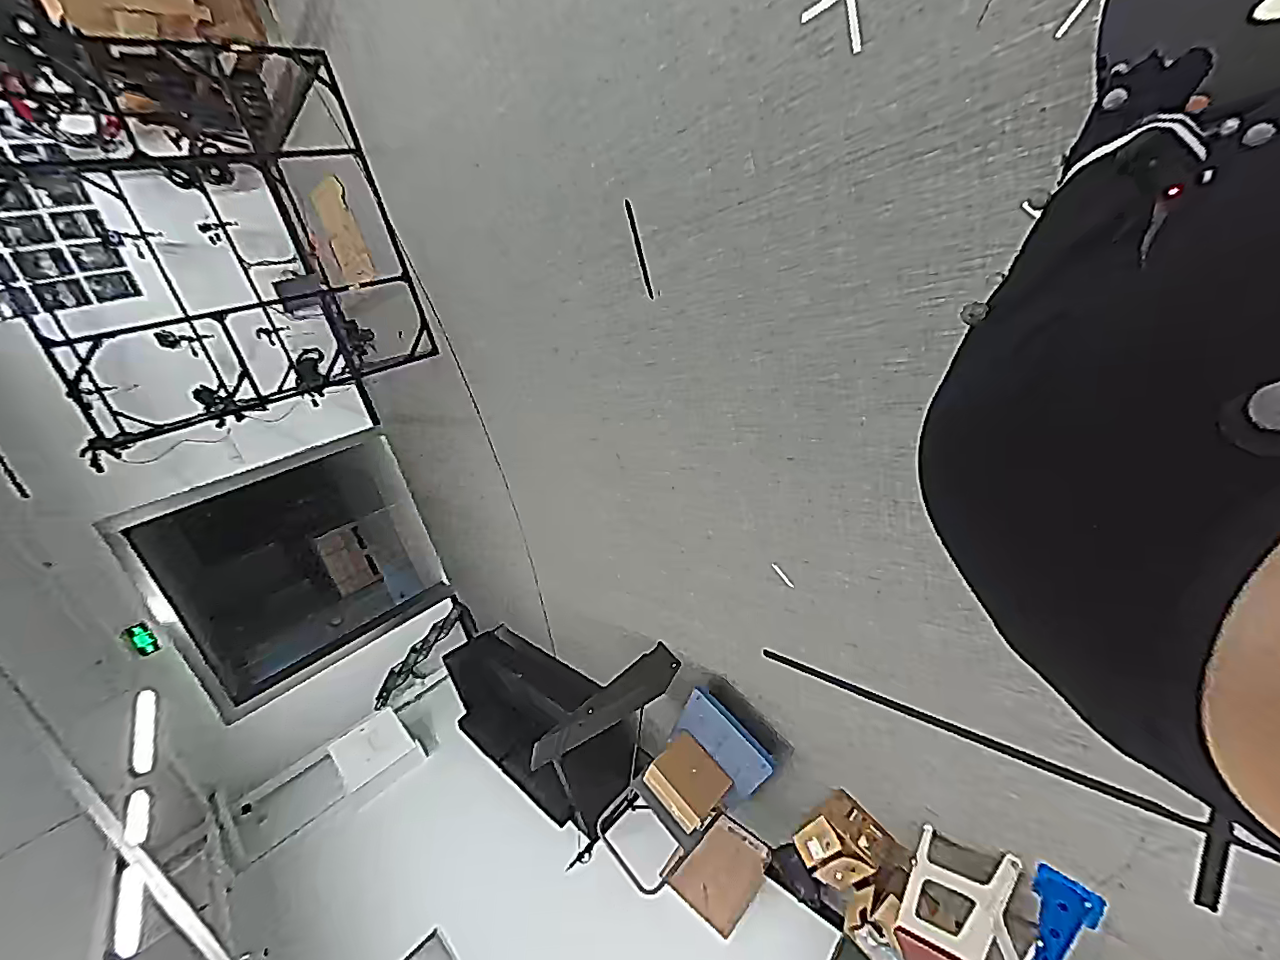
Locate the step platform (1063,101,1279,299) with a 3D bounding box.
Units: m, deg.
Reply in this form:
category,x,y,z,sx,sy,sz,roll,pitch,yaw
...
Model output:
category,x,y,z,sx,sy,sz,roll,pitch,yaw
step platform,1.169,-0.520,0.939,0.684,0.204,0.286,7,119,50
